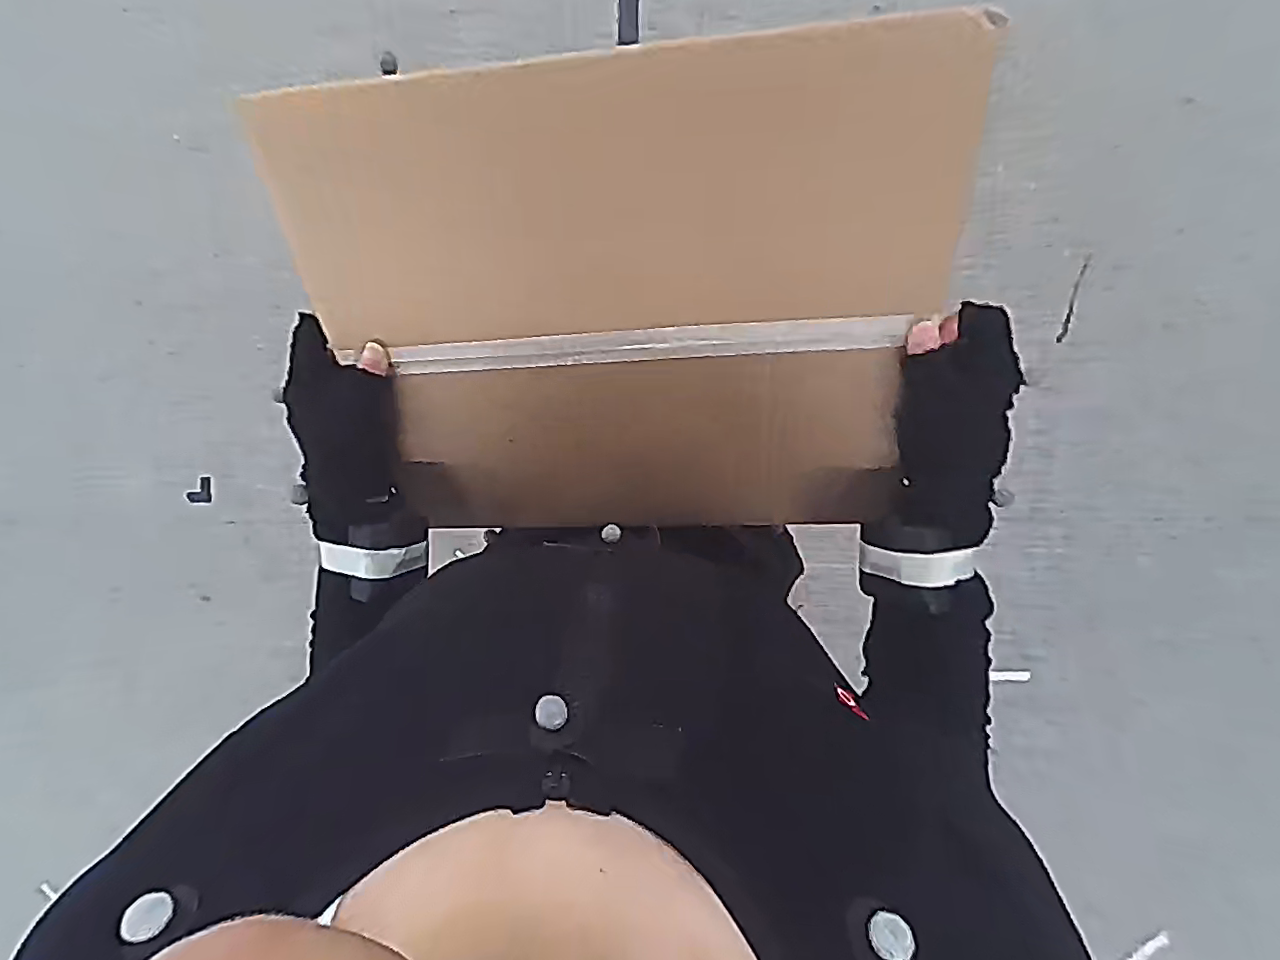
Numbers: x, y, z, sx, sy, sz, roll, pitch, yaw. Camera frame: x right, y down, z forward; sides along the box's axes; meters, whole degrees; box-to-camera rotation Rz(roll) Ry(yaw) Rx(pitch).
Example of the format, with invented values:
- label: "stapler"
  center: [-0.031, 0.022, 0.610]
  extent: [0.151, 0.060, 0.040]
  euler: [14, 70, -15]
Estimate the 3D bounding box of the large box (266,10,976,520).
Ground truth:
- label: "large box"
  center: [-0.002, -0.181, 0.497]
  extent: [0.408, 0.320, 0.320]
  euler: [-1, 125, 7]
